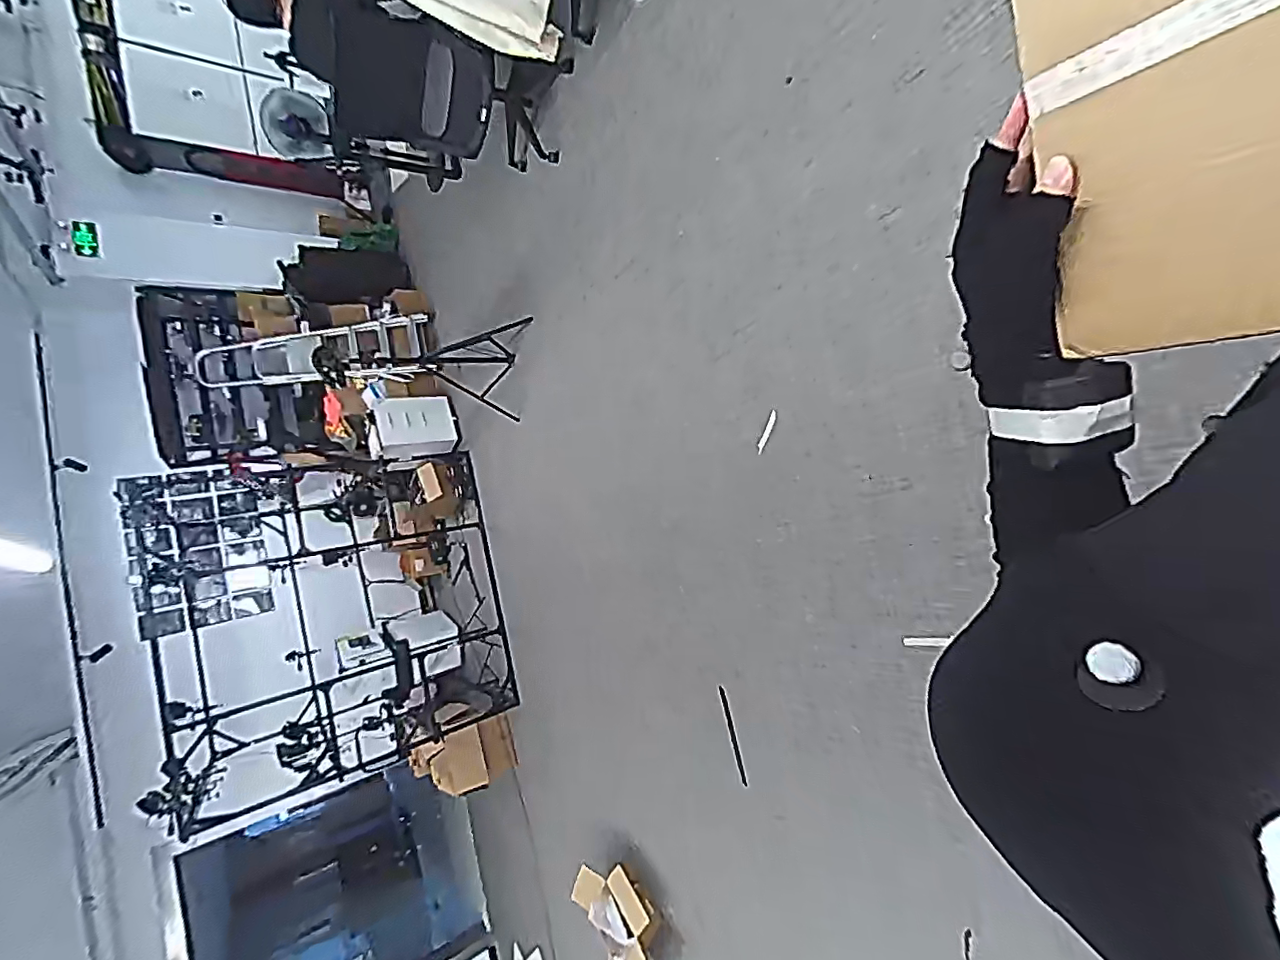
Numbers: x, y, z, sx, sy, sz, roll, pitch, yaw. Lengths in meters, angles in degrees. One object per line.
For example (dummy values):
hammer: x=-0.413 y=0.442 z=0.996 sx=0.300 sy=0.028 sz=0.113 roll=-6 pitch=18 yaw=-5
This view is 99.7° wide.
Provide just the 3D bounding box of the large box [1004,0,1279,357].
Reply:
large box: x=0.459 y=-0.279 z=0.244 sx=0.408 sy=0.320 sz=0.320 roll=0 pitch=110 yaw=56
